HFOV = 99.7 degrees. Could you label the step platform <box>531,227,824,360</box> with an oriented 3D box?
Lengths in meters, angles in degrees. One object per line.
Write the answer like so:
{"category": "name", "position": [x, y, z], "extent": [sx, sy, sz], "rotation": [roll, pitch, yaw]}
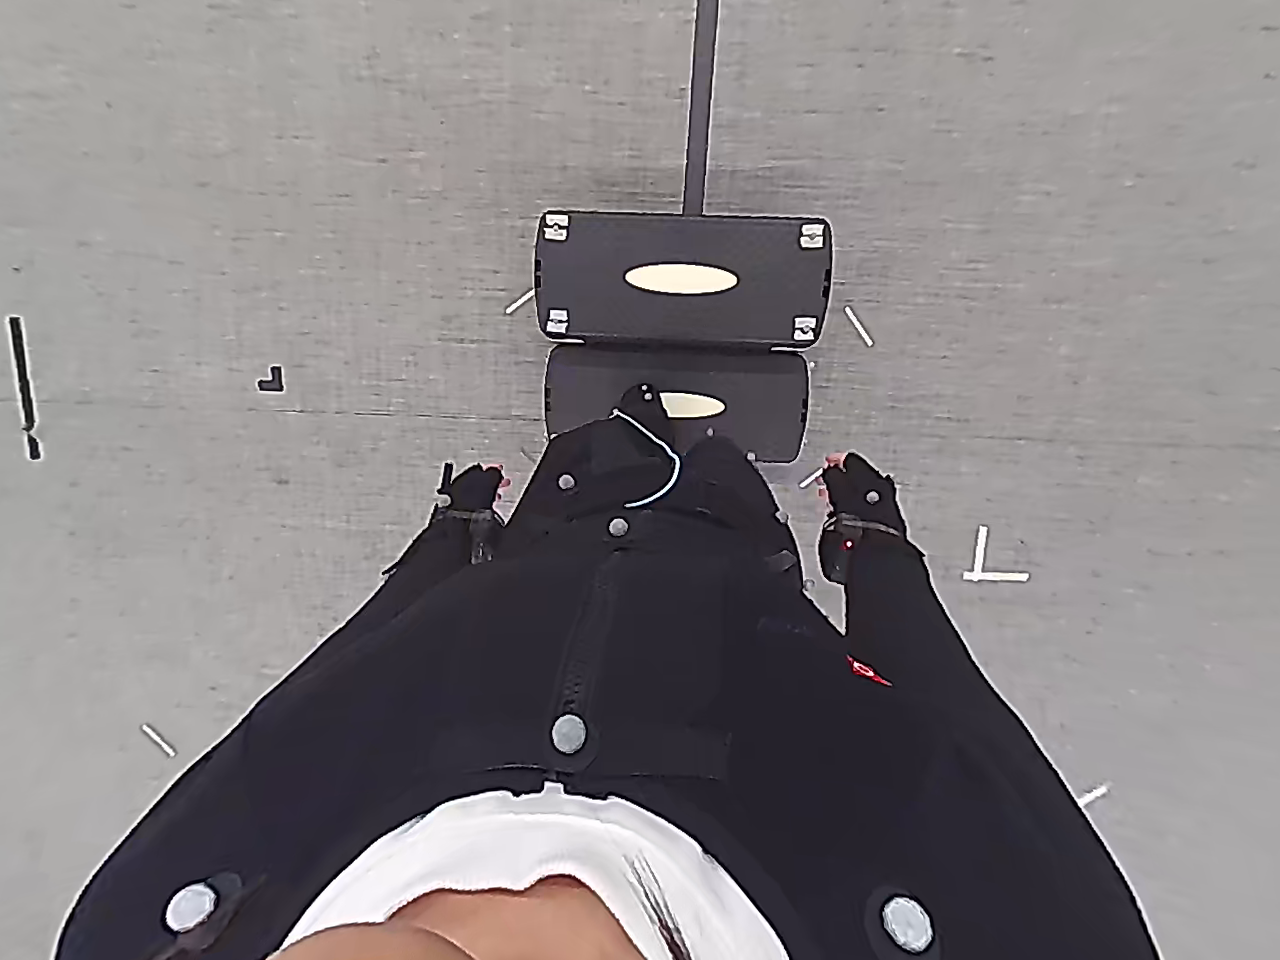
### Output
{"category": "step platform", "position": [0.084, -0.443, 1.305], "extent": [0.684, 0.204, 0.286], "rotation": [2, 103, 2]}
